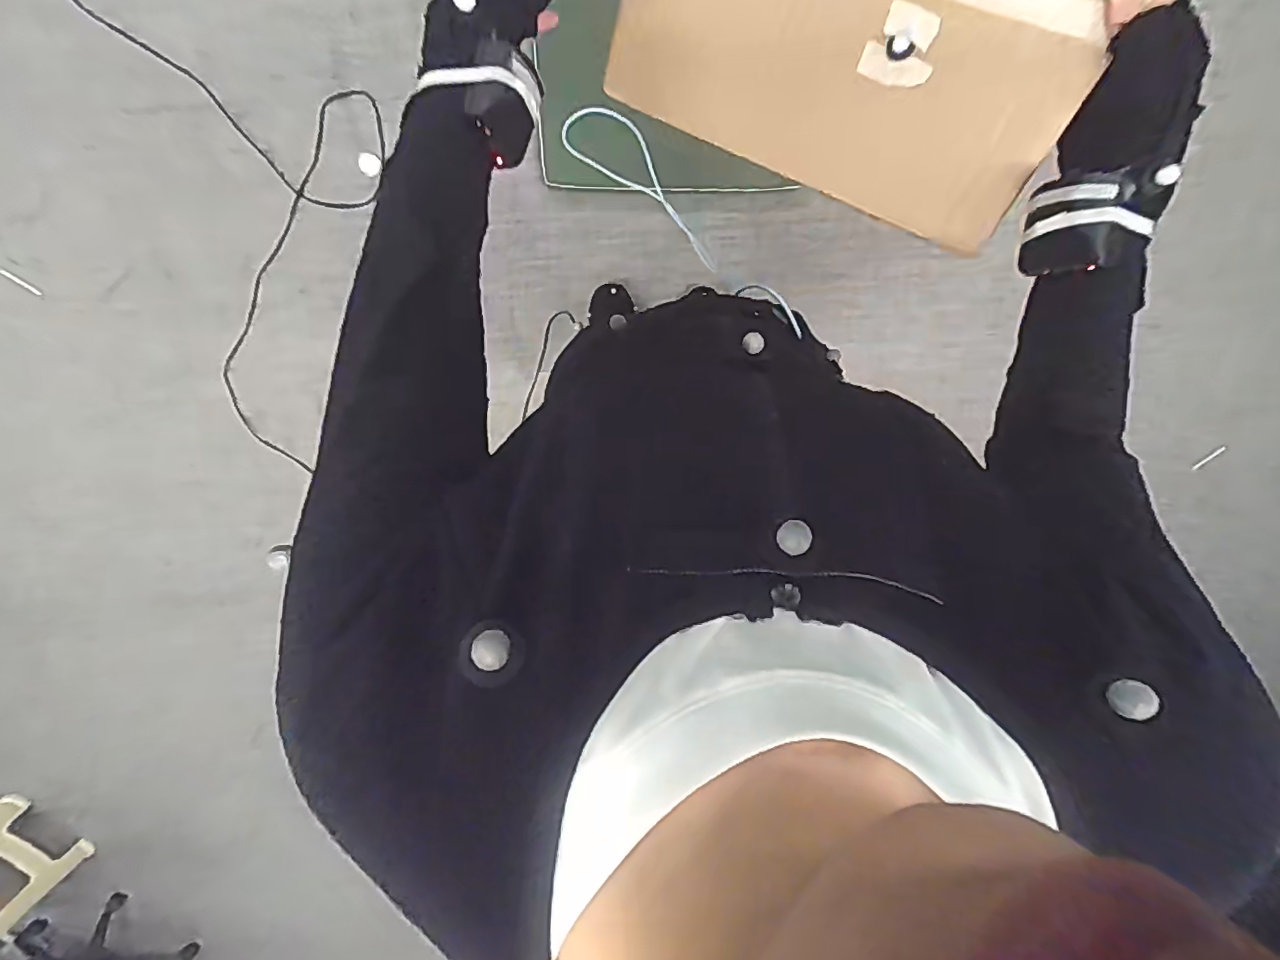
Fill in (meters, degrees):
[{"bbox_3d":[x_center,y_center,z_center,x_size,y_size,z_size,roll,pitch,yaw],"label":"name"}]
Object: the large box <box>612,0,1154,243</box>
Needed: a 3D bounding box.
[{"bbox_3d":[0.248,-0.470,0.539,0.408,0.320,0.320,32,126,14],"label":"large box"}]
